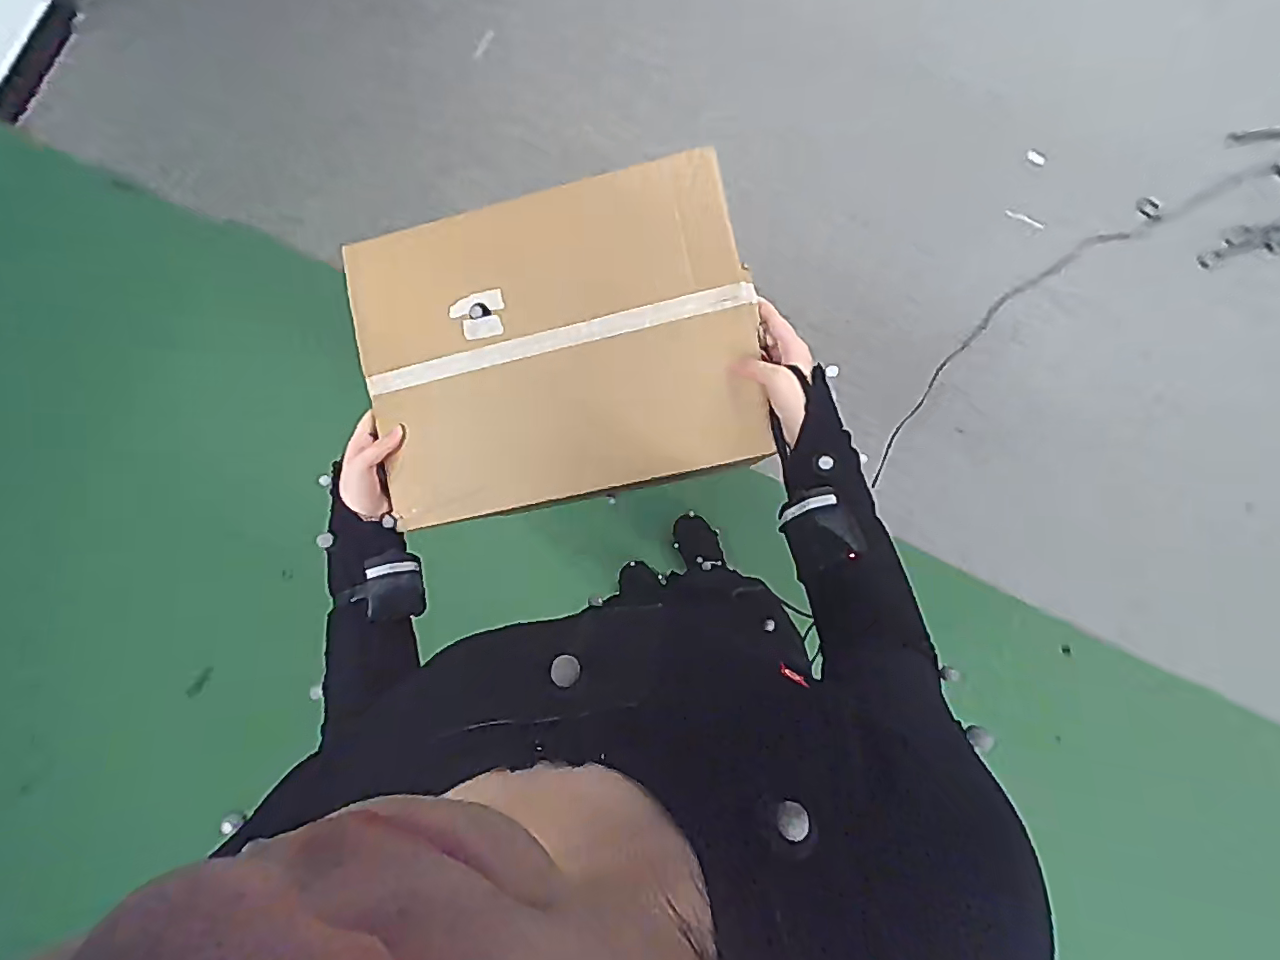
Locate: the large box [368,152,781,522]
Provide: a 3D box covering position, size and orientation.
[{"bbox_3d":[-0.058,-0.144,0.712,0.408,0.320,0.320,-11,88,8],"label":"large box"}]
